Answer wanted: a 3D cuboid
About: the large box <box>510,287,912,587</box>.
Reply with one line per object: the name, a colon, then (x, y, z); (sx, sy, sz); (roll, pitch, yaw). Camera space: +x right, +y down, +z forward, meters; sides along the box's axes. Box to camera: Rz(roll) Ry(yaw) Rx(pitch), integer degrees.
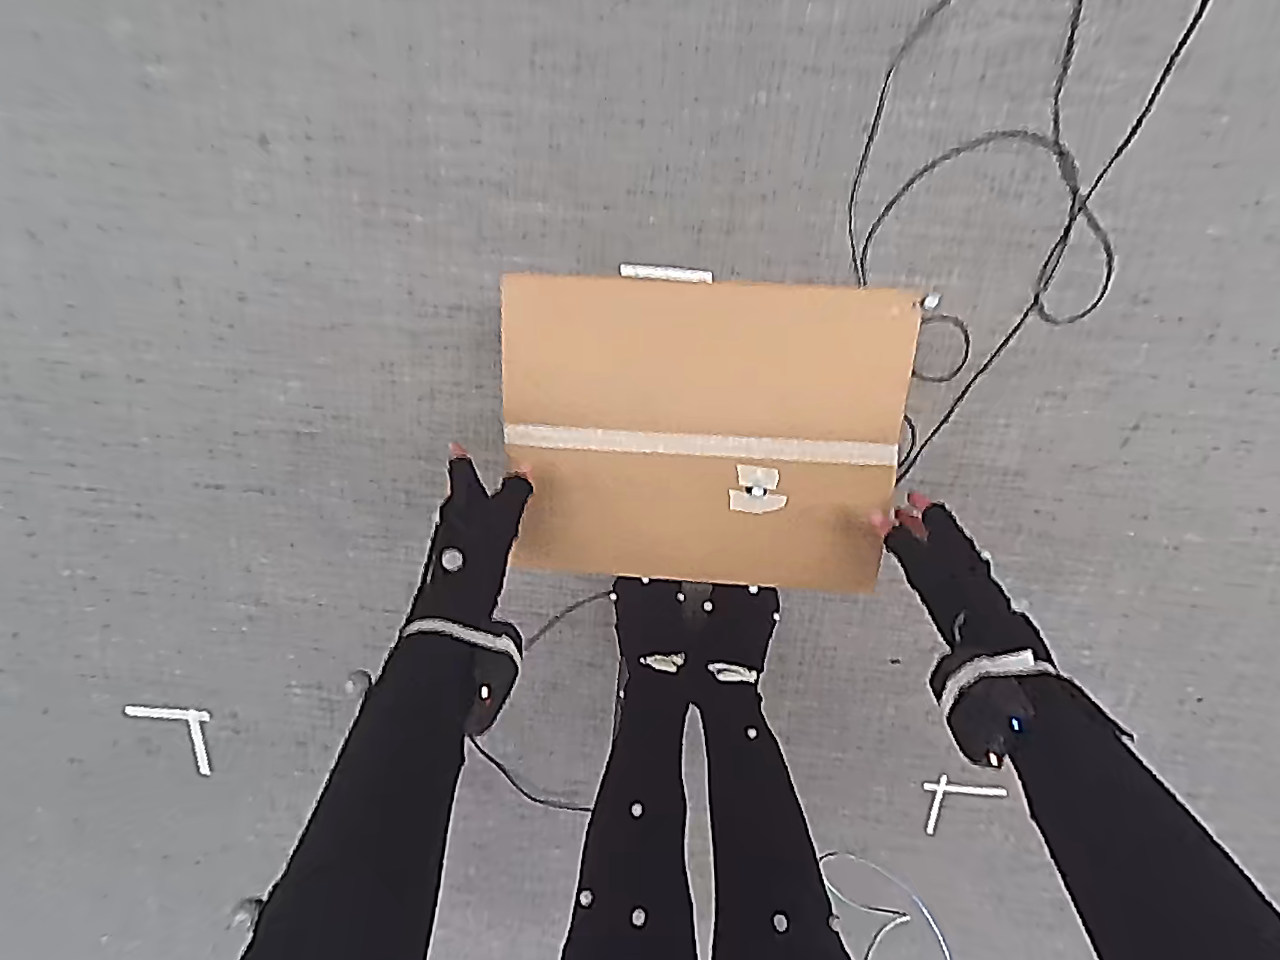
large box: (0.072, -0.073, 0.713); (0.408, 0.320, 0.320); (3, 106, 4)
